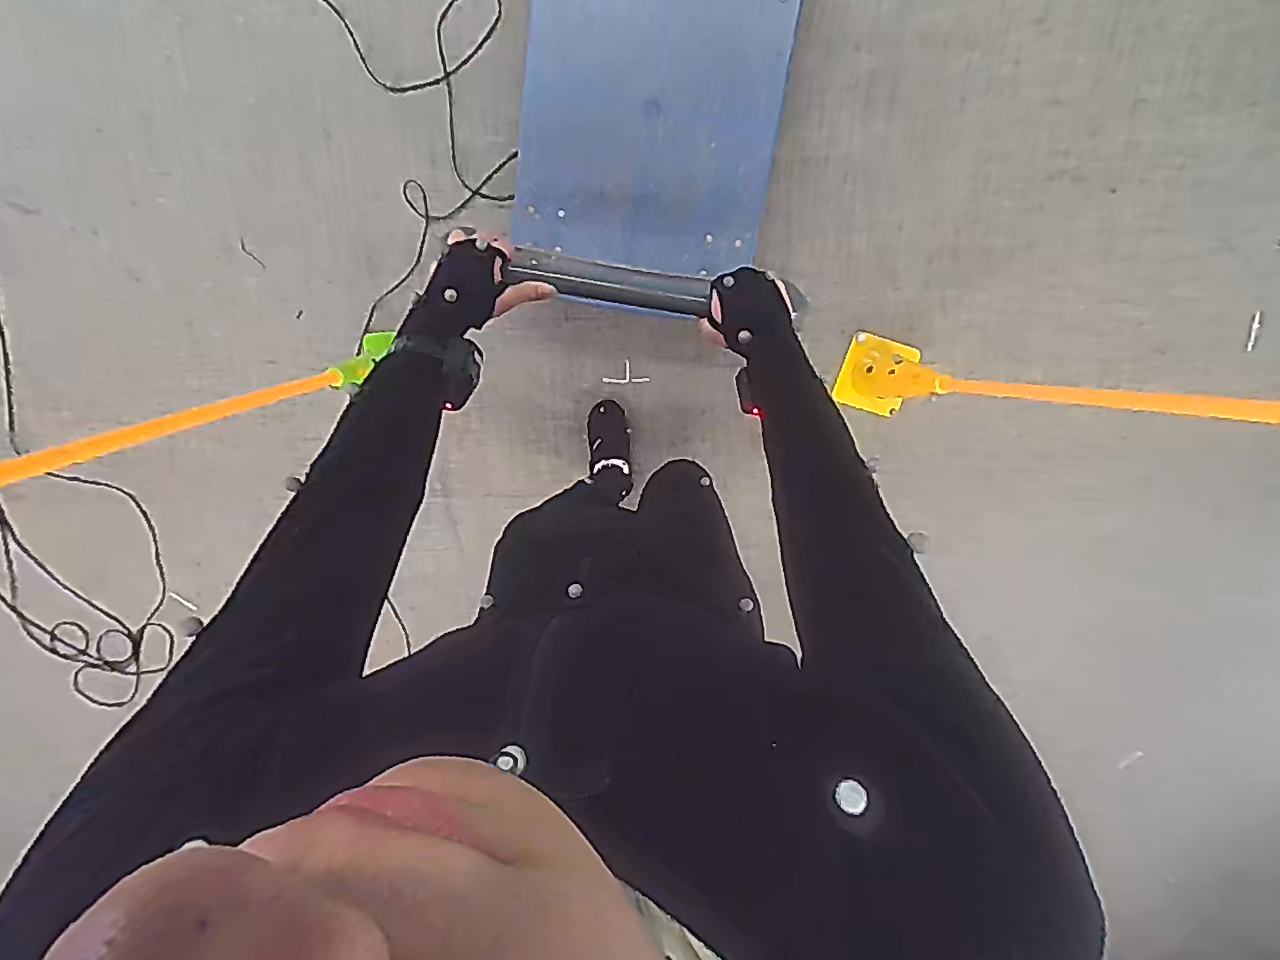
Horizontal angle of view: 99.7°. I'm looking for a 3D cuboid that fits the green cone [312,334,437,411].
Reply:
[{"bbox_3d":[-0.677,-0.257,1.334,0.202,0.368,0.200,-4,104,3],"label":"green cone"}]
